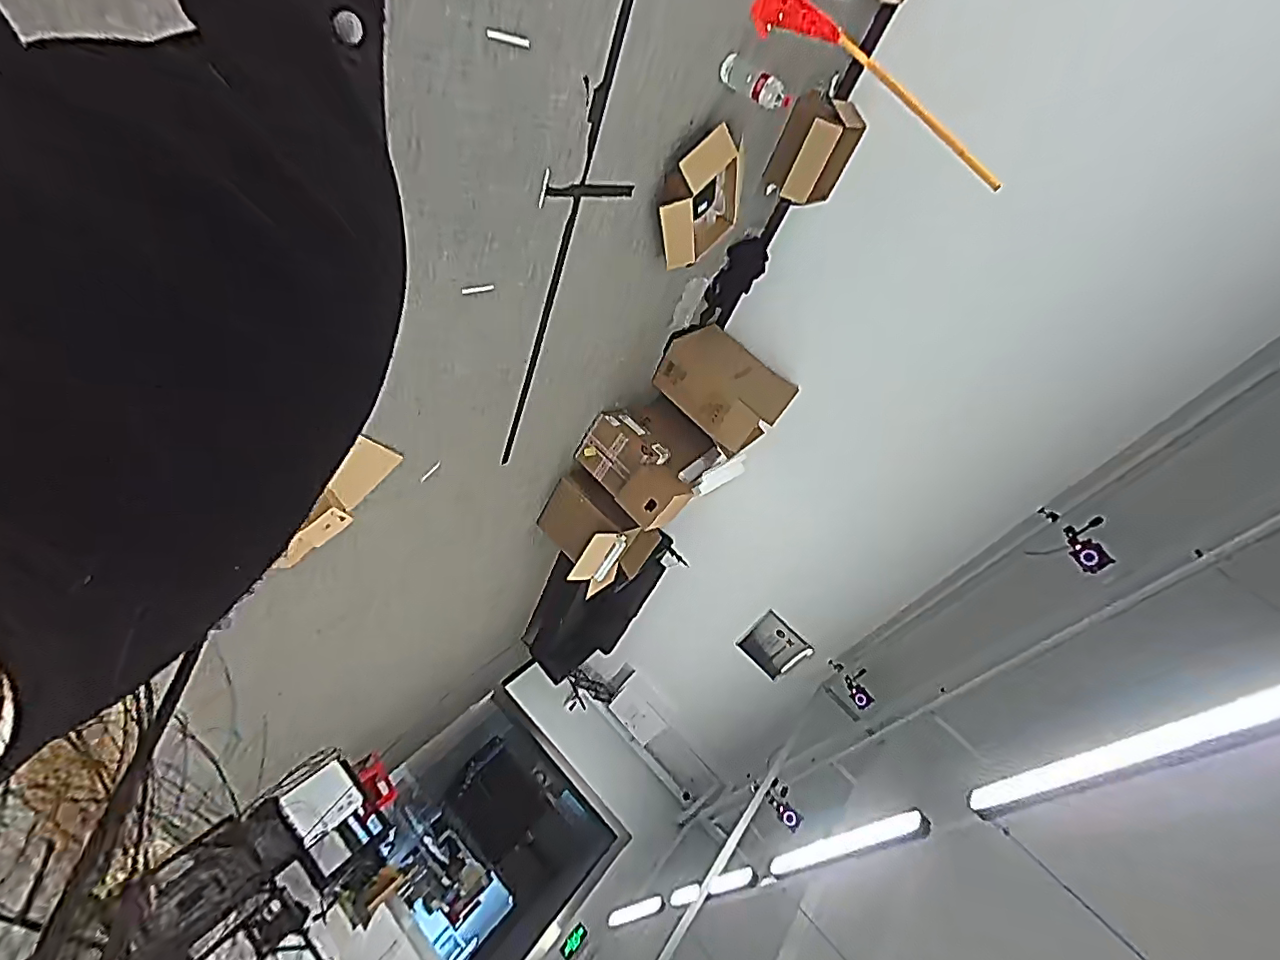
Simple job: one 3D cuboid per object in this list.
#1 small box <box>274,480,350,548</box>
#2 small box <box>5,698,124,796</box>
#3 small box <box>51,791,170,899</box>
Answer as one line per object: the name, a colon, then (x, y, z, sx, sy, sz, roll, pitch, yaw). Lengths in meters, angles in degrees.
small box: (-1.287, 0.133, 2.111, 0.179, 0.176, 0.168, -40, 164, -14)
small box: (-1.650, 0.761, 1.554, 0.168, 0.176, 0.179, -33, 160, -41)
small box: (-1.424, 0.981, 1.462, 0.168, 0.176, 0.179, -33, 159, -44)
